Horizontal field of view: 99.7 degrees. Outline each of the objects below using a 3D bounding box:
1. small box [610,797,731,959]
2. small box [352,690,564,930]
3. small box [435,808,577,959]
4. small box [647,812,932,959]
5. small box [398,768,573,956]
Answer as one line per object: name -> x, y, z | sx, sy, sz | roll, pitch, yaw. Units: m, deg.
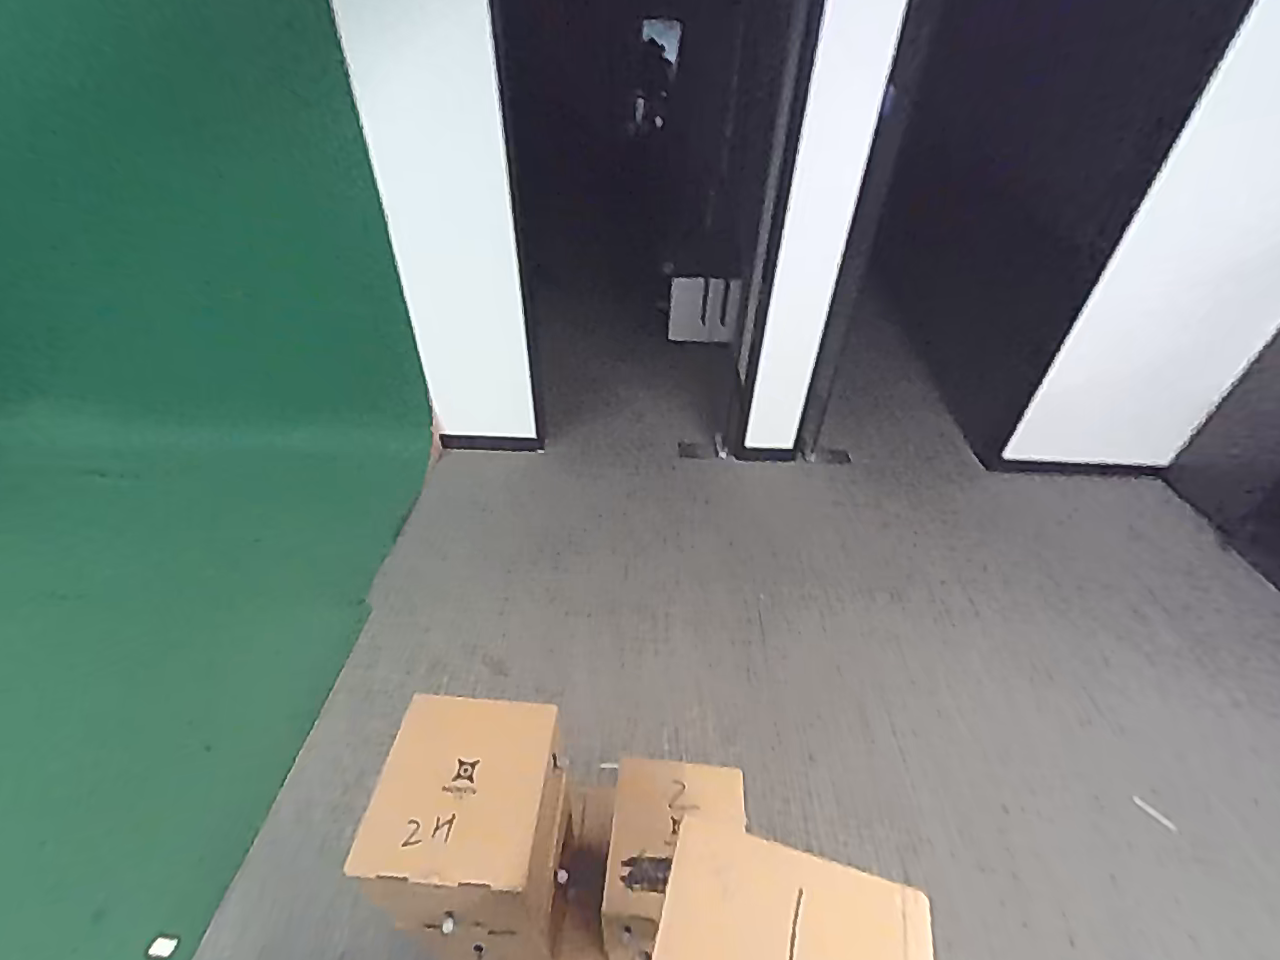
small box -> 0.050, 0.615, 0.819 | 0.168, 0.176, 0.179 | 4, 39, 4
small box -> -0.180, 0.363, 0.601 | 0.168, 0.176, 0.179 | 4, 41, 2
small box -> -0.187, 0.614, 0.815 | 0.168, 0.176, 0.179 | 3, 41, 1
small box -> 0.085, 0.367, 0.363 | 0.168, 0.176, 0.179 | 11, 45, 13
small box -> -0.182, 0.491, 0.705 | 0.168, 0.176, 0.179 | 4, 41, 1
